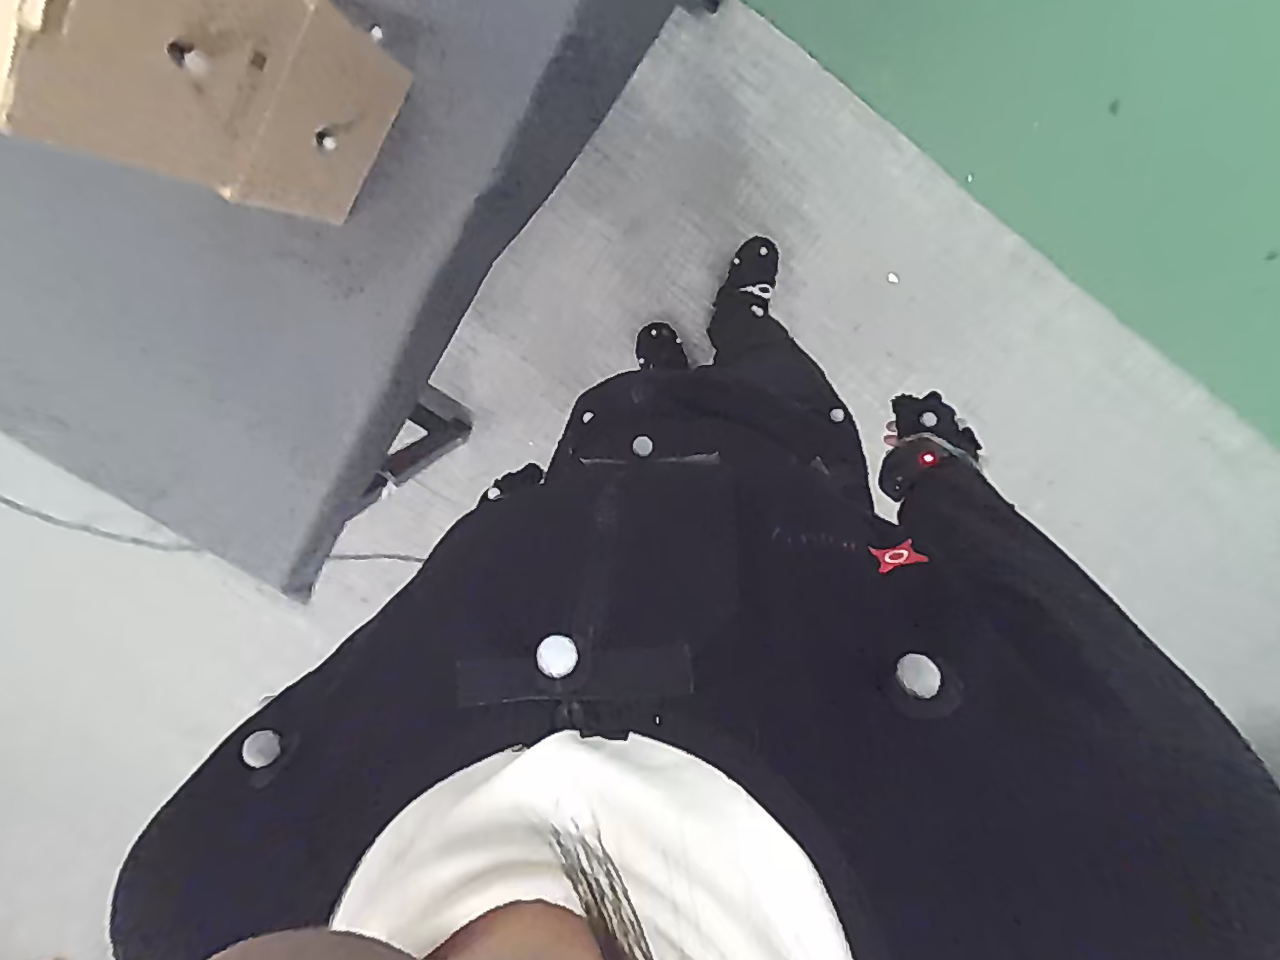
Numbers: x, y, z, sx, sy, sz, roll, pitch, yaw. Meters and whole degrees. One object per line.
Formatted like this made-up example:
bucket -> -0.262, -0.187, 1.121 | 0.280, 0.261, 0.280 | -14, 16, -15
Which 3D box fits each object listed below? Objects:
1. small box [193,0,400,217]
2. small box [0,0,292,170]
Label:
small box -> -0.354, -0.376, 0.497 | 0.168, 0.176, 0.179 | 36, 108, -8
small box -> -0.371, -0.329, 0.342 | 0.179, 0.176, 0.168 | 34, 107, -8
